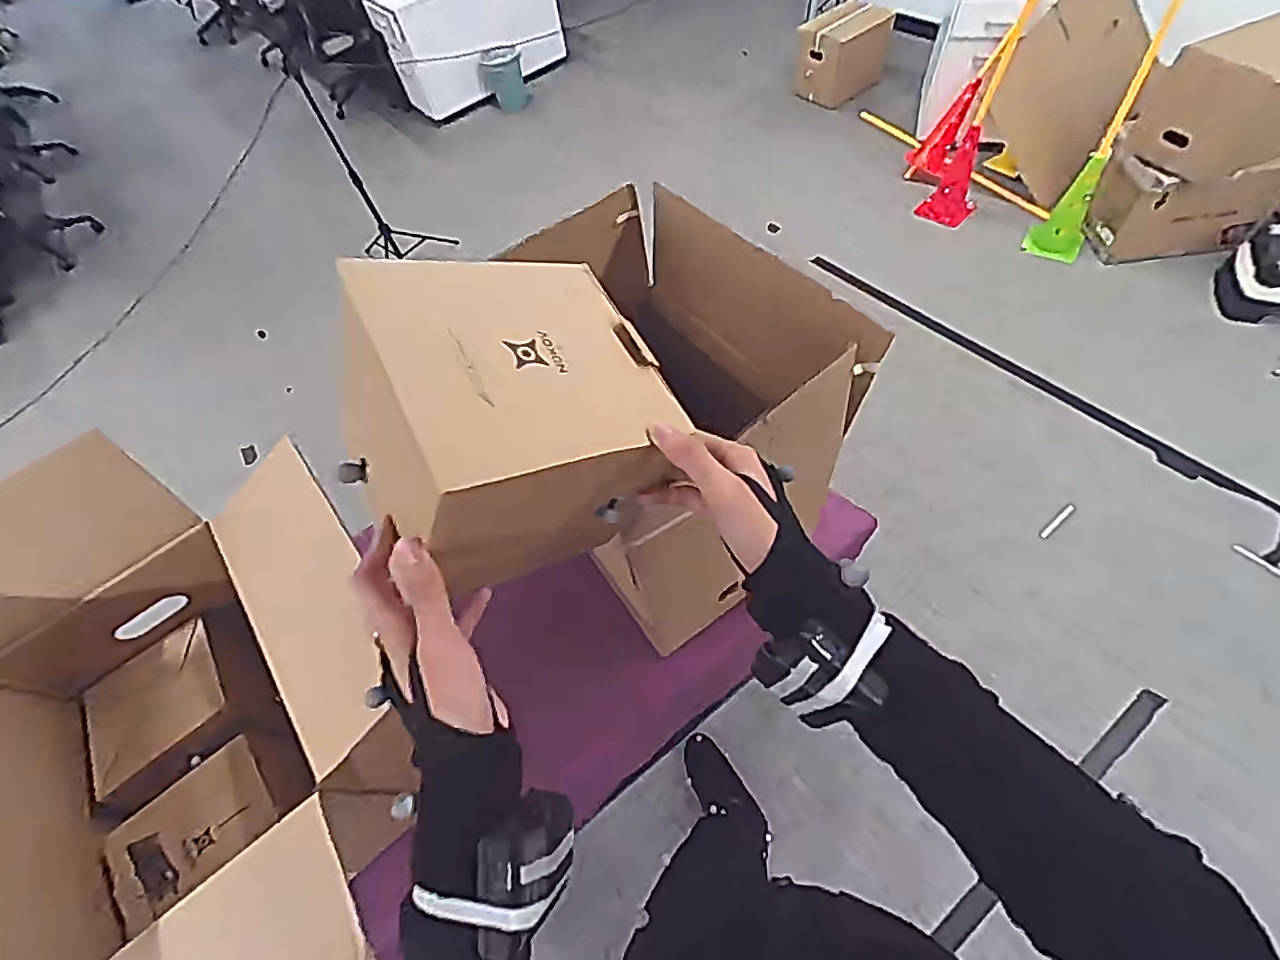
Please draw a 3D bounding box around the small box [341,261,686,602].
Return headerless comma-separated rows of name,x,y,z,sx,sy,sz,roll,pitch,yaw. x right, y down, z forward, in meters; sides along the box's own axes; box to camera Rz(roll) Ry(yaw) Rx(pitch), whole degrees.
small box,-0.105,-0.035,0.401,0.179,0.176,0.168,-16,66,-37
